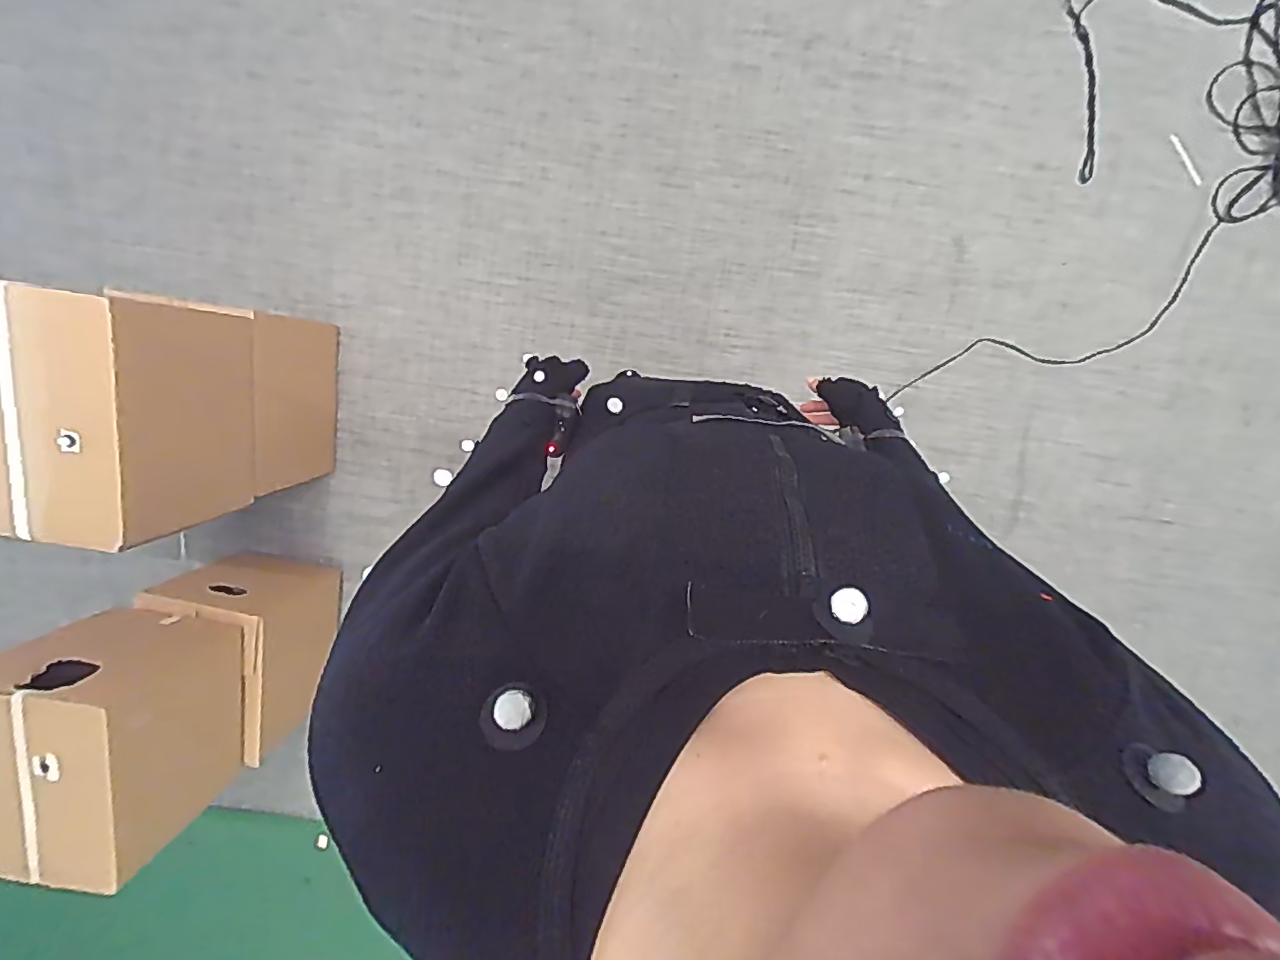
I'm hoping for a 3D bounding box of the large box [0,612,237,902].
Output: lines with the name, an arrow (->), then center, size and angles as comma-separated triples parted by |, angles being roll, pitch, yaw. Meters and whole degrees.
large box -> -1.096, 0.539, 1.116 | 0.320, 0.320, 0.408 | 9, 100, 3
